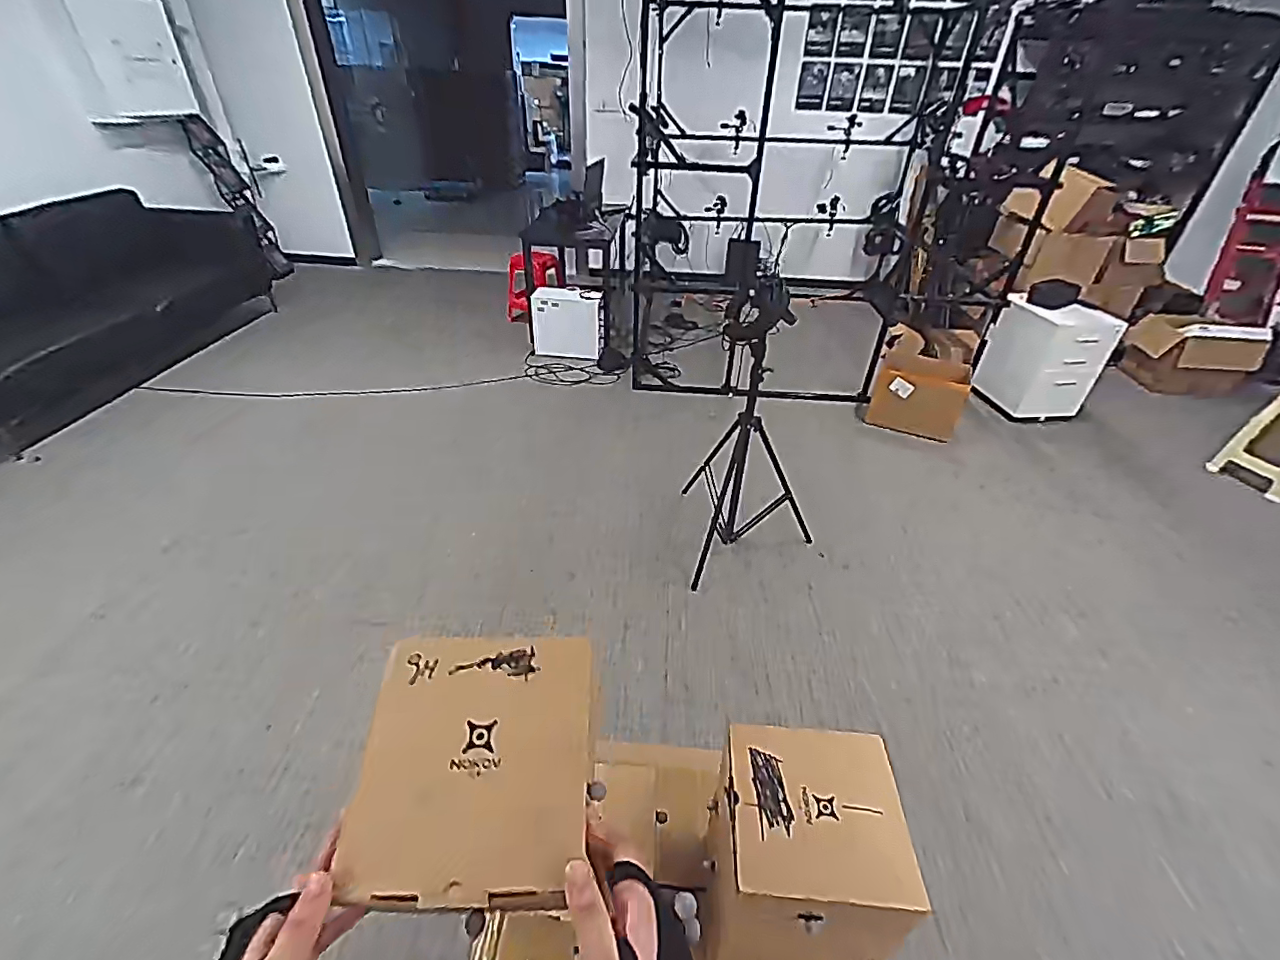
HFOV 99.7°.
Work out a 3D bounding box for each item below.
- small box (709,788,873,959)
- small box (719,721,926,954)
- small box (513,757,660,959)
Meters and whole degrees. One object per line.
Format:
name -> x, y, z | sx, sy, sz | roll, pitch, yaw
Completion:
small box -> 0.178, 0.530, 0.701 | 0.168, 0.176, 0.179 | 2, 37, 4
small box -> 0.181, 0.397, 0.604 | 0.179, 0.176, 0.168 | 3, 36, 4
small box -> -0.063, 0.504, 0.723 | 0.168, 0.176, 0.179 | 4, 36, 1
